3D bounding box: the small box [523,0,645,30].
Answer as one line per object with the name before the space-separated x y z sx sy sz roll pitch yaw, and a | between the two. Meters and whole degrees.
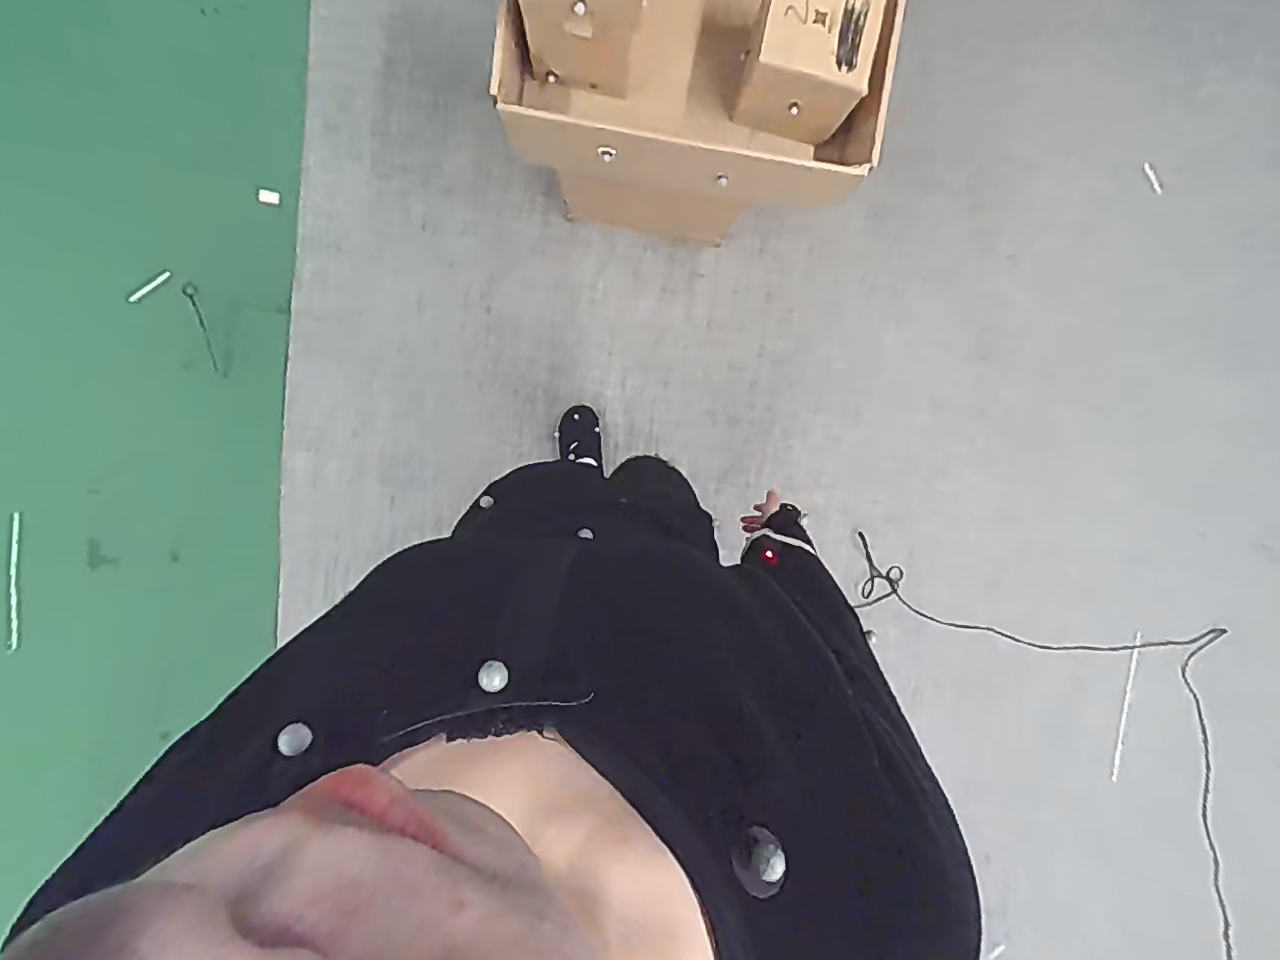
small box | -0.067 -0.734 0.698 0.179 0.176 0.168 6 95 -5
